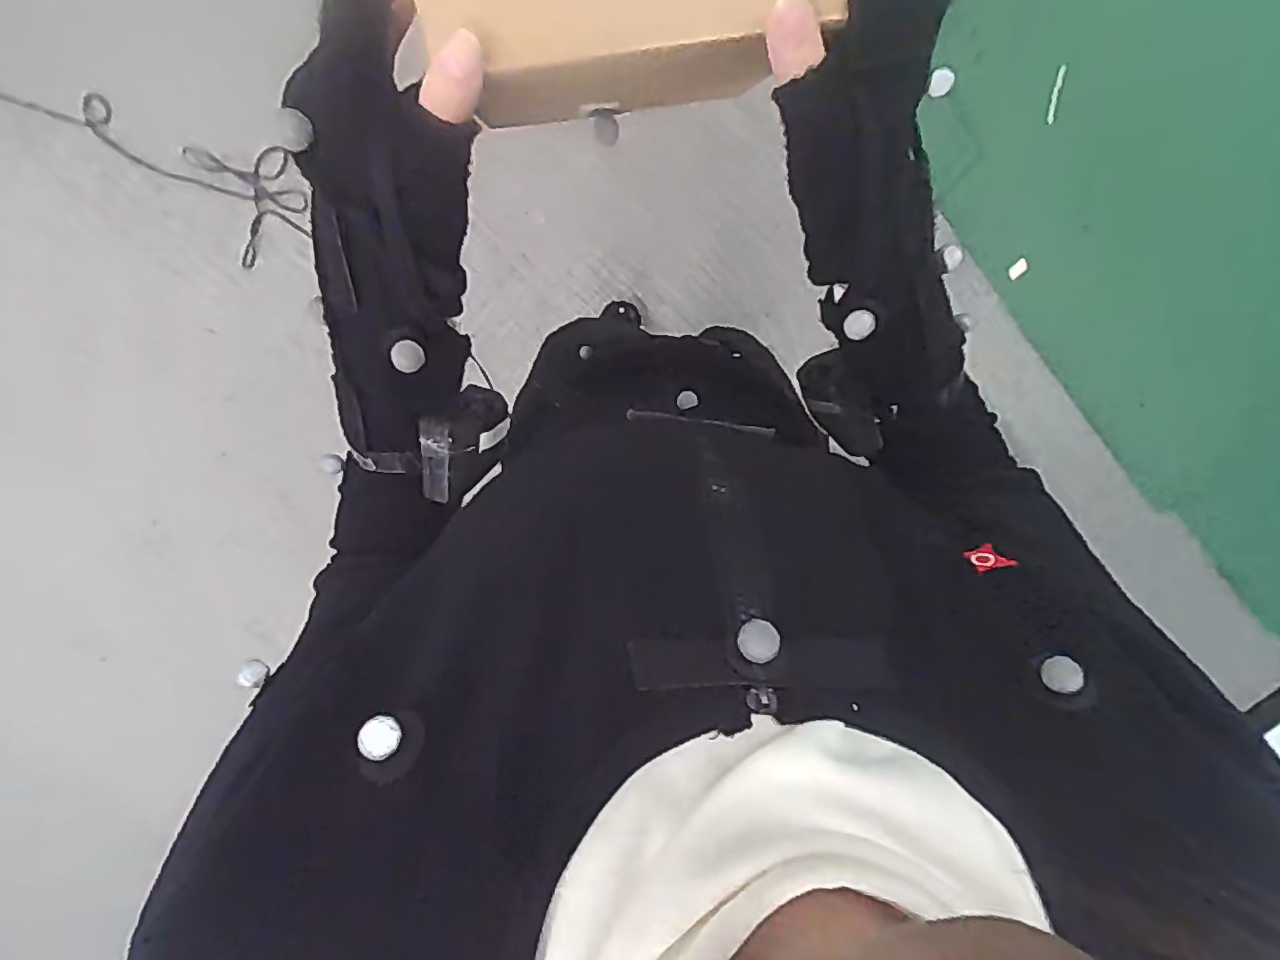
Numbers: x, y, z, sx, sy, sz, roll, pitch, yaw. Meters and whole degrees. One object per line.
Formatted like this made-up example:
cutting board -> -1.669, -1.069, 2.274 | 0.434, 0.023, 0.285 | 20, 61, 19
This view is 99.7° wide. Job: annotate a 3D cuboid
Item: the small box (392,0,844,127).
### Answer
small box -> -0.023, -0.273, 0.228 | 0.168, 0.176, 0.179 | -10, 117, -1
